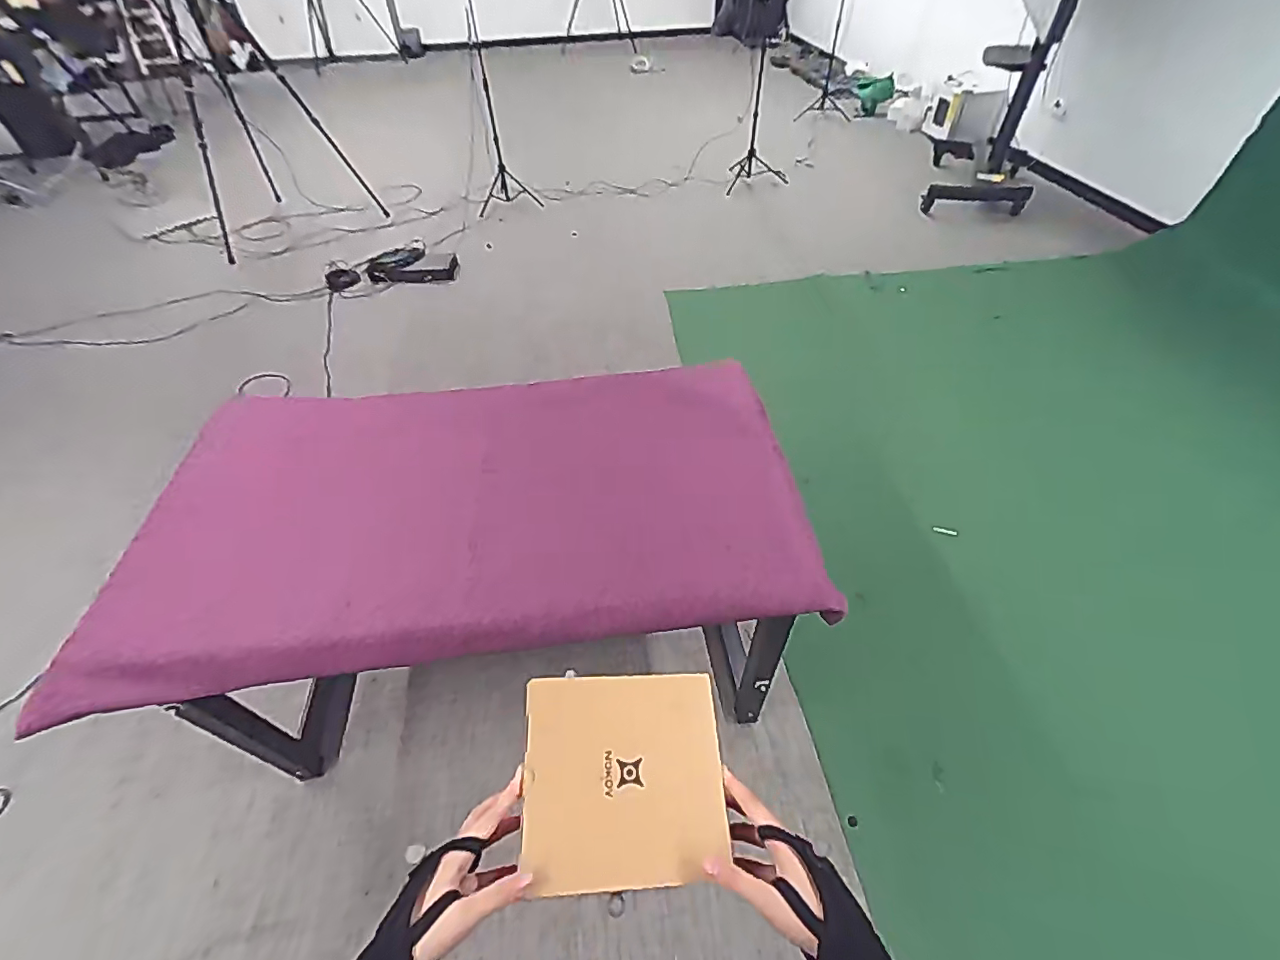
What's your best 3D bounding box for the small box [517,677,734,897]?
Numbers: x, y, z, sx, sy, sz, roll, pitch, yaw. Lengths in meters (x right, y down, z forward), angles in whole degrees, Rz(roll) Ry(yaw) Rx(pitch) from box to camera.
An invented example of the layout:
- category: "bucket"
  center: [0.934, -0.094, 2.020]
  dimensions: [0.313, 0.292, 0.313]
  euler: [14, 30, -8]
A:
- category: "small box"
  center: [-0.020, 0.303, 0.537]
  dimensions: [0.179, 0.176, 0.168]
  euler: [0, 54, -6]
